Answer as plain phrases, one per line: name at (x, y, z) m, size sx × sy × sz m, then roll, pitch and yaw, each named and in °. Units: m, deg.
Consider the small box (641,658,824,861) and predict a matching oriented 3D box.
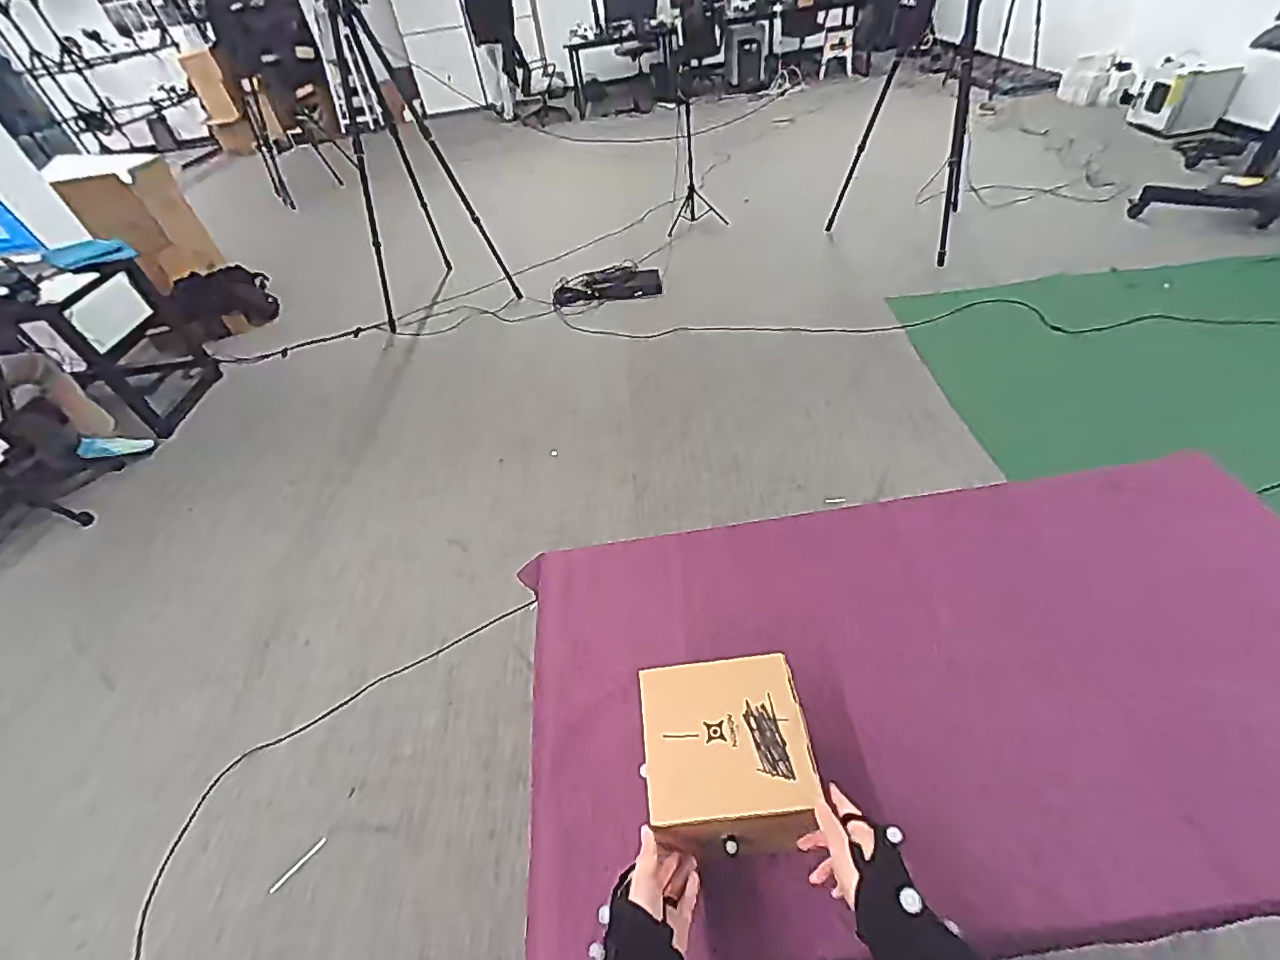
small box at (0.100, 0.333, 0.643) m, size 0.179 × 0.176 × 0.168 m, roll -8°, pitch 44°, yaw 3°
